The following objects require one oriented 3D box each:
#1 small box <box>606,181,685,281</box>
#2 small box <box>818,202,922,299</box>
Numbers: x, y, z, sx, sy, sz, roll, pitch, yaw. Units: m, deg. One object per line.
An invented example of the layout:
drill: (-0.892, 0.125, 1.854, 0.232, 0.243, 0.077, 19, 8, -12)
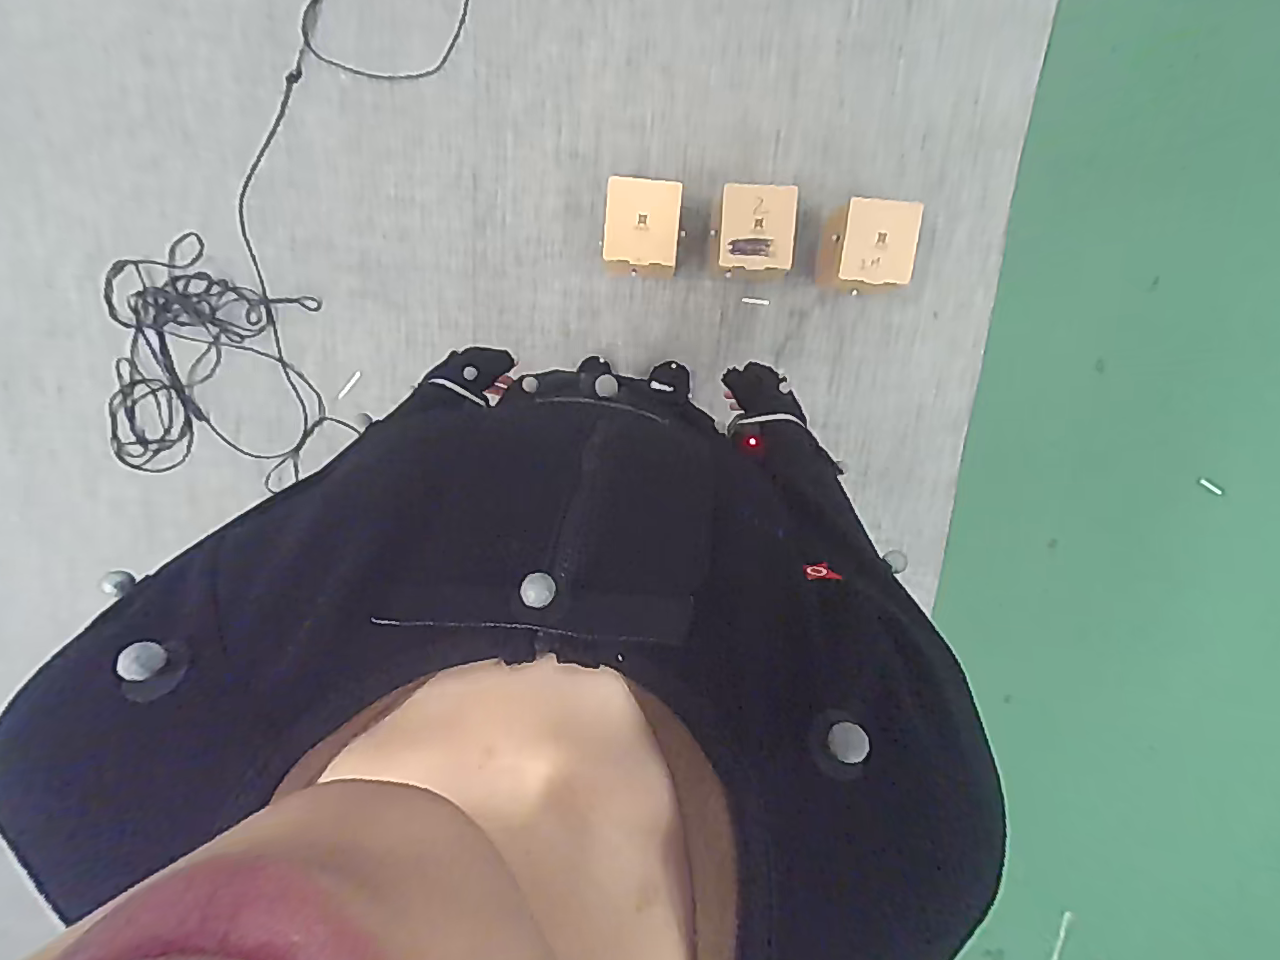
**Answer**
small box: (0.011, -0.586, 1.292, 0.168, 0.176, 0.179, 5, 102, 0)
small box: (0.540, -0.542, 1.296, 0.168, 0.176, 0.179, 5, 103, 0)
